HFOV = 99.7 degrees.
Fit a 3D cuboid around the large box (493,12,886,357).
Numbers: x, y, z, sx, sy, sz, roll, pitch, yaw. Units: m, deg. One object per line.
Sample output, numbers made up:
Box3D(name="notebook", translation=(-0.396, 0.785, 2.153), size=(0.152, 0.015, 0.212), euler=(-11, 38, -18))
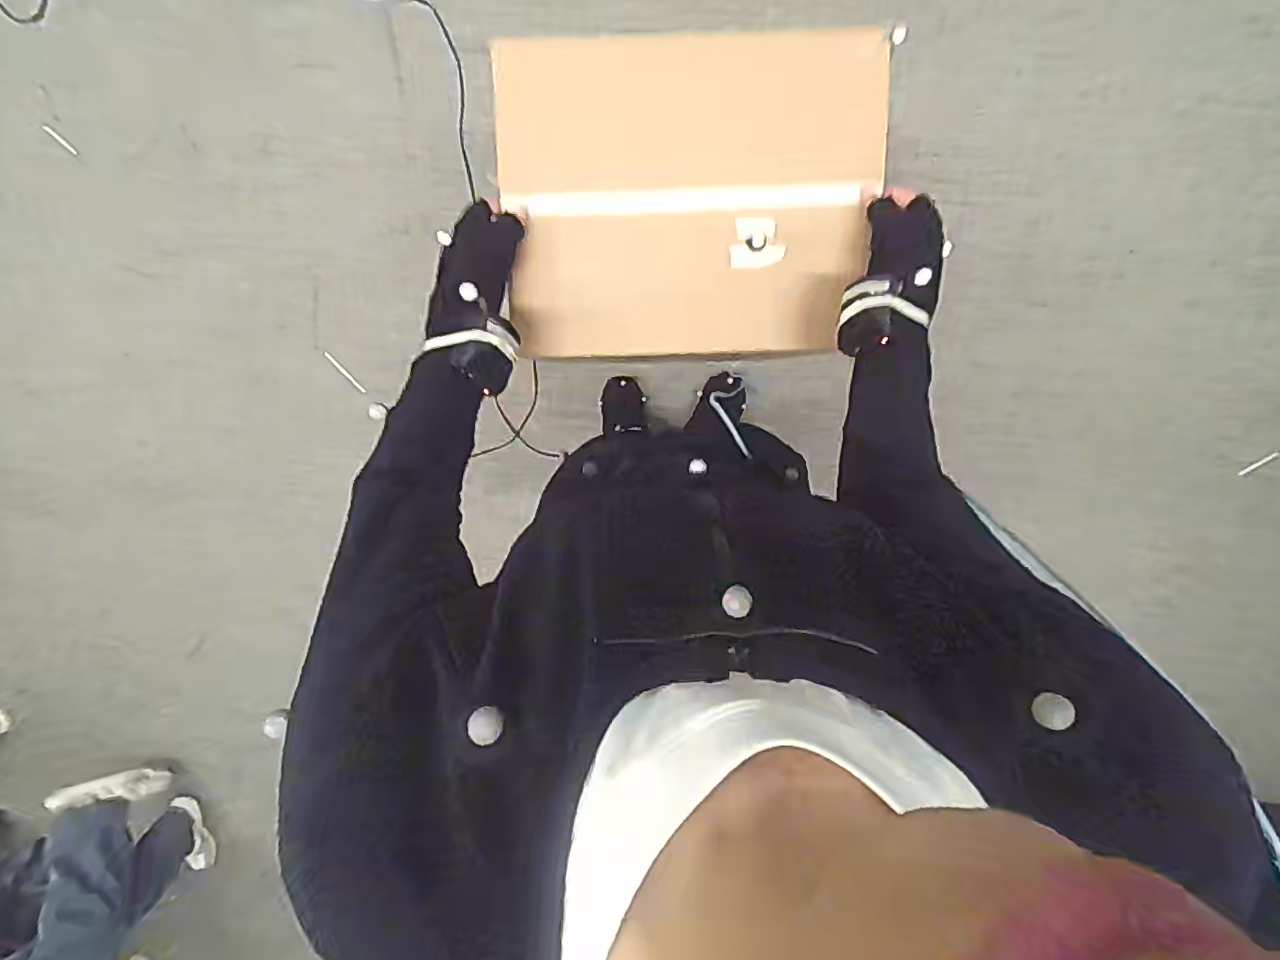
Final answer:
Box3D(name="large box", translation=(0.053, -0.336, 0.714), size=(0.408, 0.320, 0.320), euler=(-3, 102, -1))
